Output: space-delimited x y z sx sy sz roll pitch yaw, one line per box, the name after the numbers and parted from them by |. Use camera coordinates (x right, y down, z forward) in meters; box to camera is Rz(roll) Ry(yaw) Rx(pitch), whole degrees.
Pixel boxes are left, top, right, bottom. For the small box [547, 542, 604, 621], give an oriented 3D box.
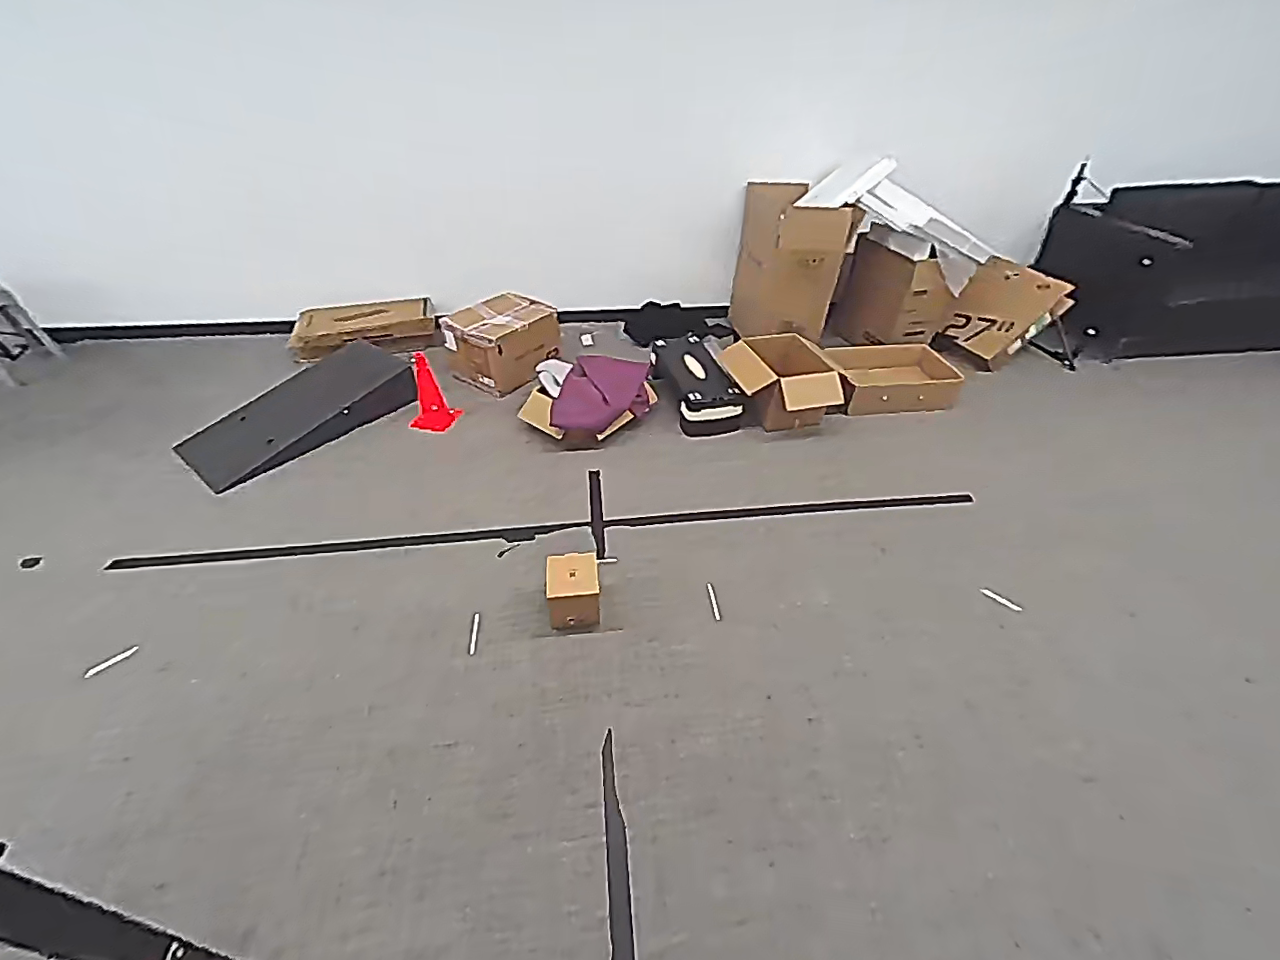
-0.205 0.322 1.711 0.168 0.176 0.179 -5 42 -6 | small box
